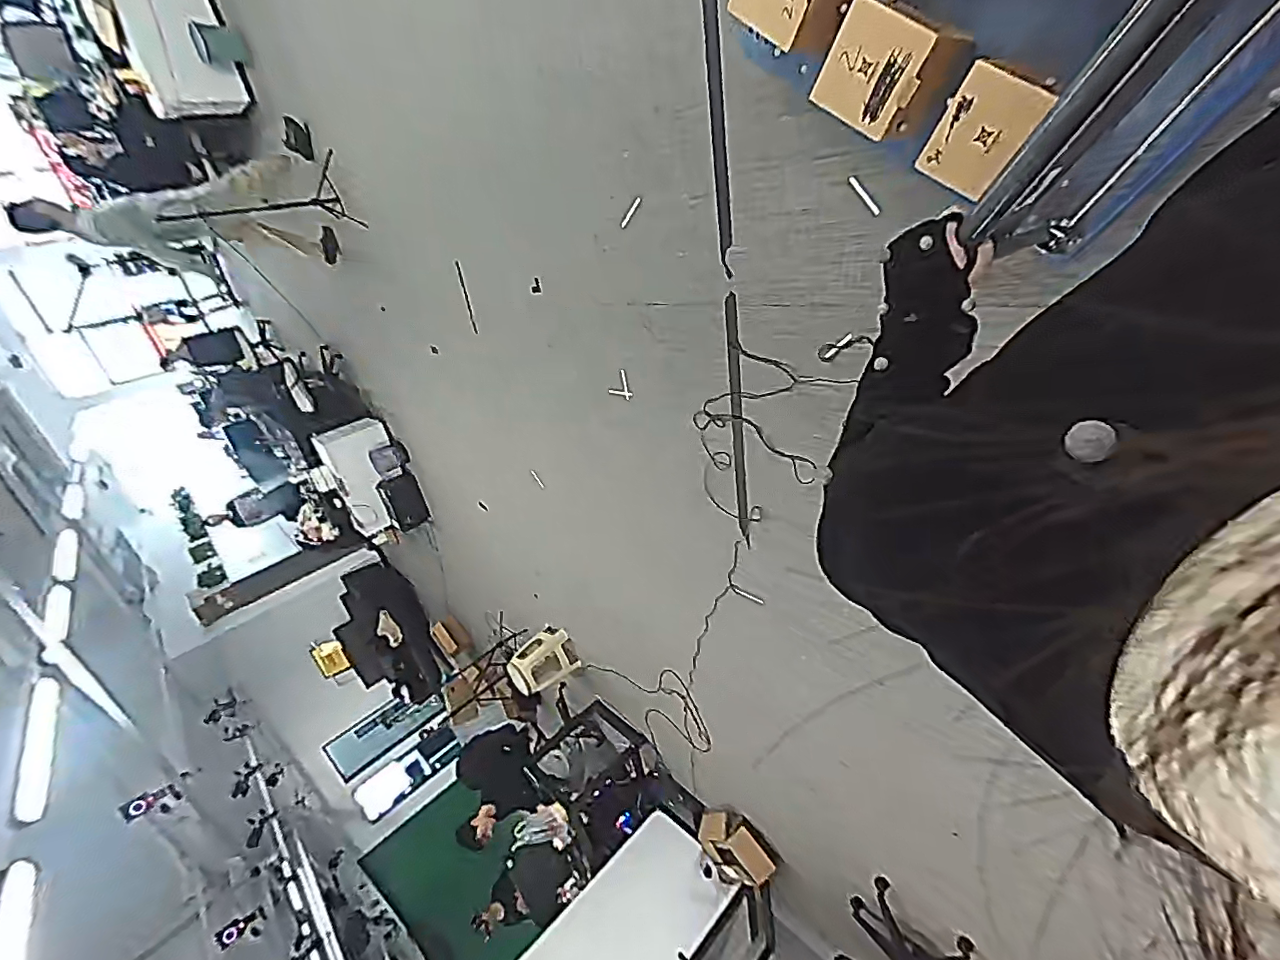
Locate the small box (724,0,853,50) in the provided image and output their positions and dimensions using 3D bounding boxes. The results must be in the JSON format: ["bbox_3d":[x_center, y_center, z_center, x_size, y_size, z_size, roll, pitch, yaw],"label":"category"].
[{"bbox_3d":[0.303,-0.960,1.040,0.179,0.176,0.168,46,144,14],"label":"small box"}]

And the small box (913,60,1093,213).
[{"bbox_3d":[0.624,-0.594,0.930,0.179,0.176,0.168,44,142,19],"label":"small box"}]
